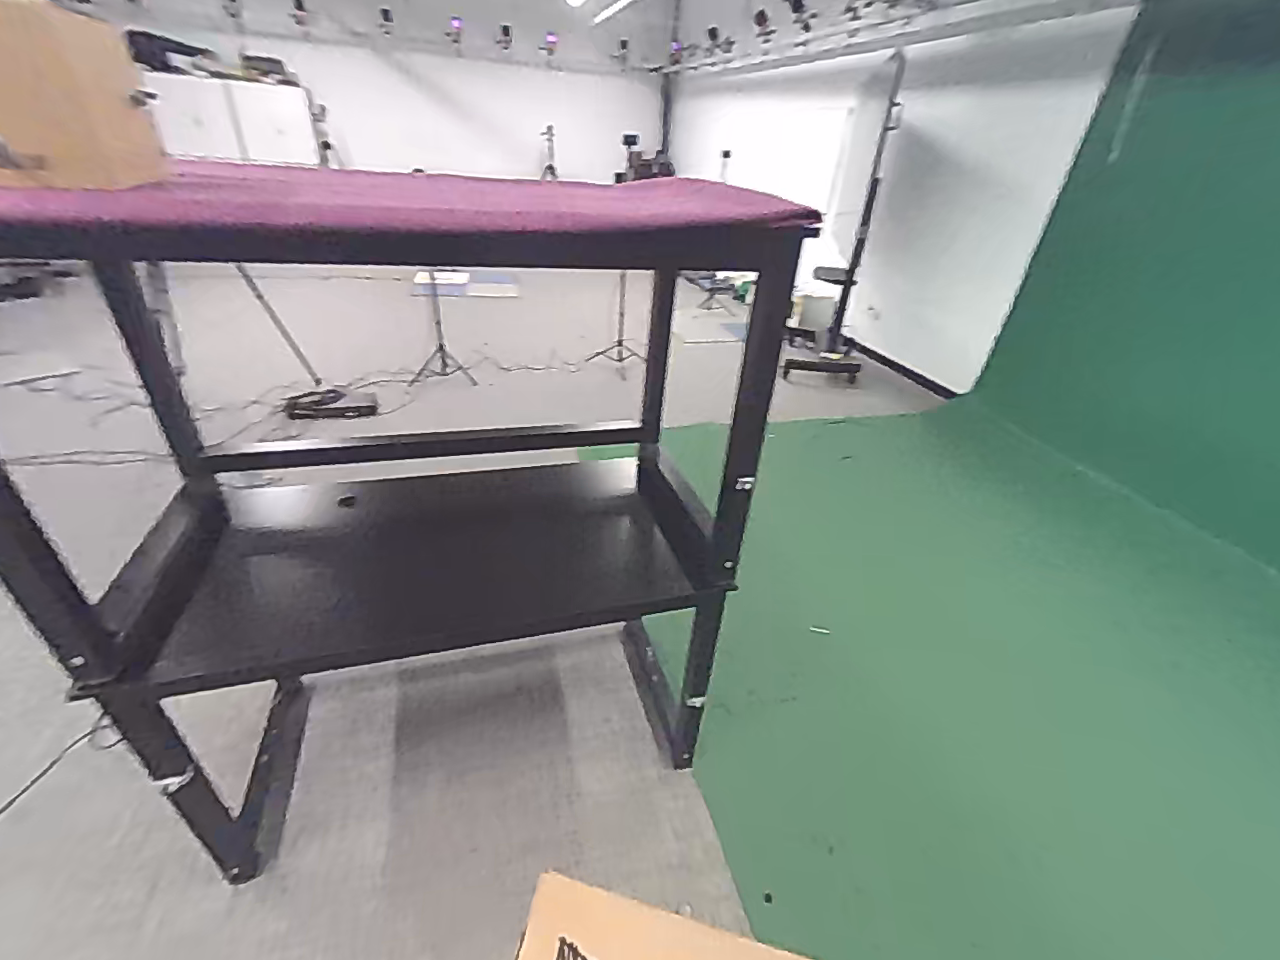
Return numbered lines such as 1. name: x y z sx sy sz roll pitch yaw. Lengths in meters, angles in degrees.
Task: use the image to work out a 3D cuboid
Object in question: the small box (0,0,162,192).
1. small box: -0.685 -0.430 0.606 0.168 0.176 0.179 -9 35 -18
